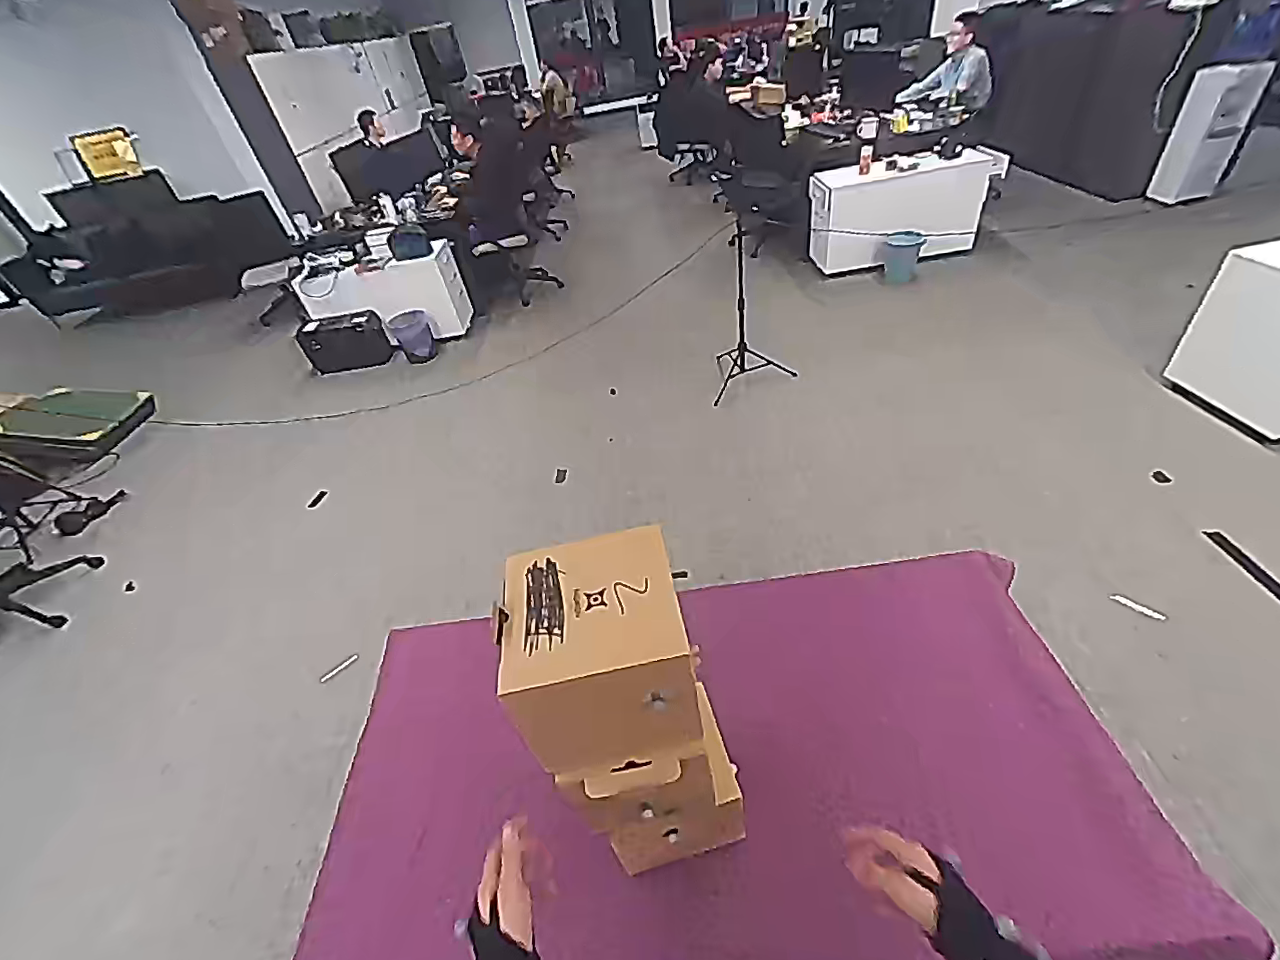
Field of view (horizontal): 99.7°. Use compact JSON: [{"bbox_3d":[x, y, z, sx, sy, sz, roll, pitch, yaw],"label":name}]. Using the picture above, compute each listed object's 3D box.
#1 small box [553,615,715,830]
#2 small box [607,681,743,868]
[{"bbox_3d":[-0.008,0.303,0.679,0.168,0.176,0.179,-13,41,0],"label":"small box"},{"bbox_3d":[0.039,0.426,0.780,0.179,0.176,0.168,-15,41,-5],"label":"small box"}]
